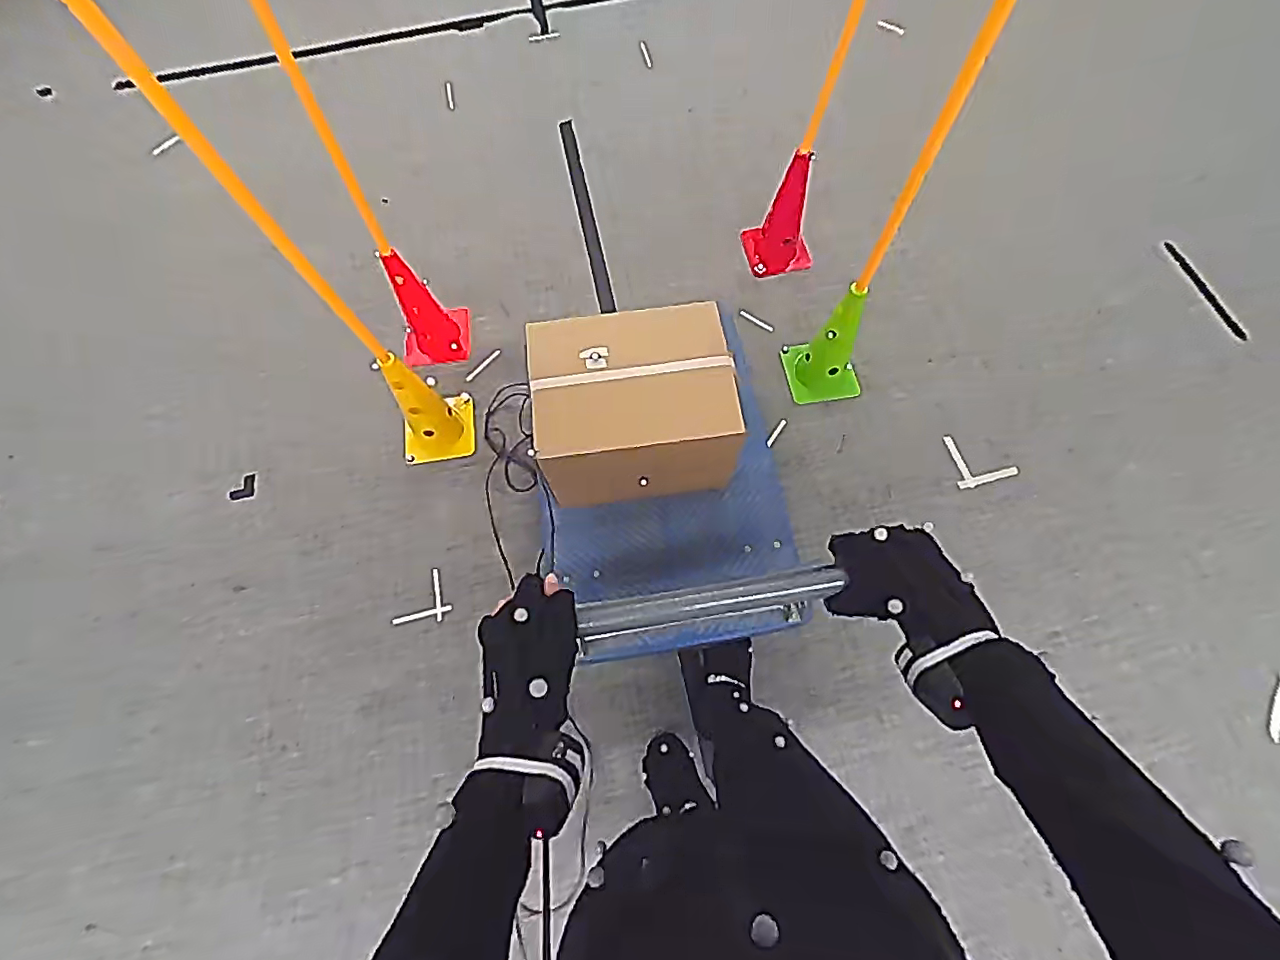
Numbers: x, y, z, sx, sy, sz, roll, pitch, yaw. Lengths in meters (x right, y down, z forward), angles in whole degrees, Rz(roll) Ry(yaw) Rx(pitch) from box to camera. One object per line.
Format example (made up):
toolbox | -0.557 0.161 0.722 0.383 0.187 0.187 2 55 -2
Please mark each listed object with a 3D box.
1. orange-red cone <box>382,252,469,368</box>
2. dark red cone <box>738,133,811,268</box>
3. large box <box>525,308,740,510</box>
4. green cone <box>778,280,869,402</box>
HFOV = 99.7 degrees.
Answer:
orange-red cone | -0.643 -0.506 1.550 0.198 0.360 0.199 -5 67 -1
dark red cone | 0.438 -0.841 1.624 0.201 0.394 0.202 -12 69 -5
large box | -0.018 -0.144 1.226 0.408 0.320 0.320 -8 69 -1
green cone | 0.527 -0.393 1.461 0.202 0.368 0.200 -9 68 -3
